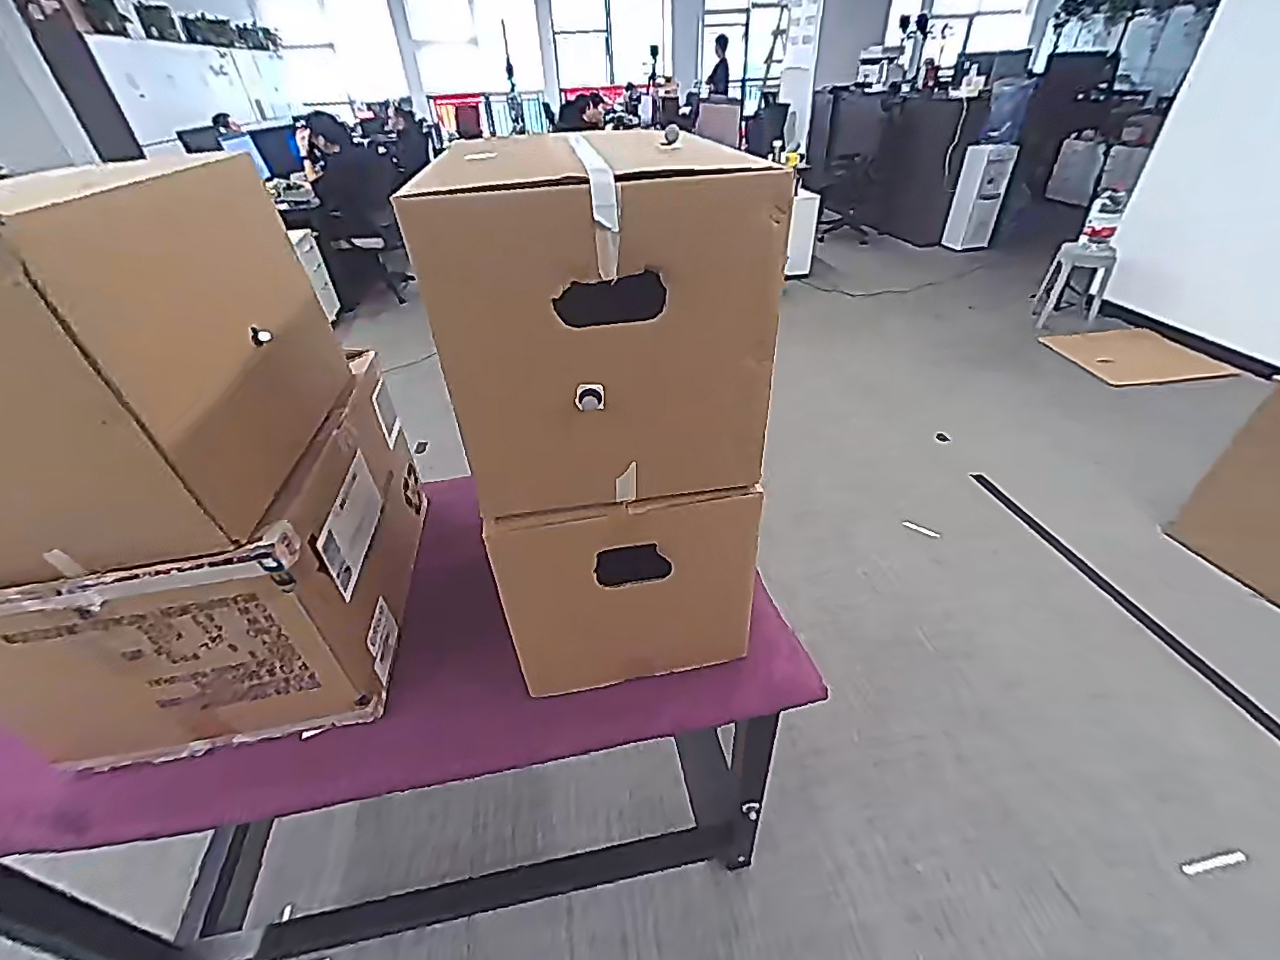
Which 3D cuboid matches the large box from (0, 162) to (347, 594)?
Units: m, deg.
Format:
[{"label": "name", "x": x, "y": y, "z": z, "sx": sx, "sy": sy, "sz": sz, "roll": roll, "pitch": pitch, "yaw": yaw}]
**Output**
[{"label": "large box", "x": -0.589, "y": -0.140, "z": 0.607, "sx": 0.320, "sy": 0.320, "sz": 0.408, "roll": -11, "pitch": 38, "yaw": -3}]
